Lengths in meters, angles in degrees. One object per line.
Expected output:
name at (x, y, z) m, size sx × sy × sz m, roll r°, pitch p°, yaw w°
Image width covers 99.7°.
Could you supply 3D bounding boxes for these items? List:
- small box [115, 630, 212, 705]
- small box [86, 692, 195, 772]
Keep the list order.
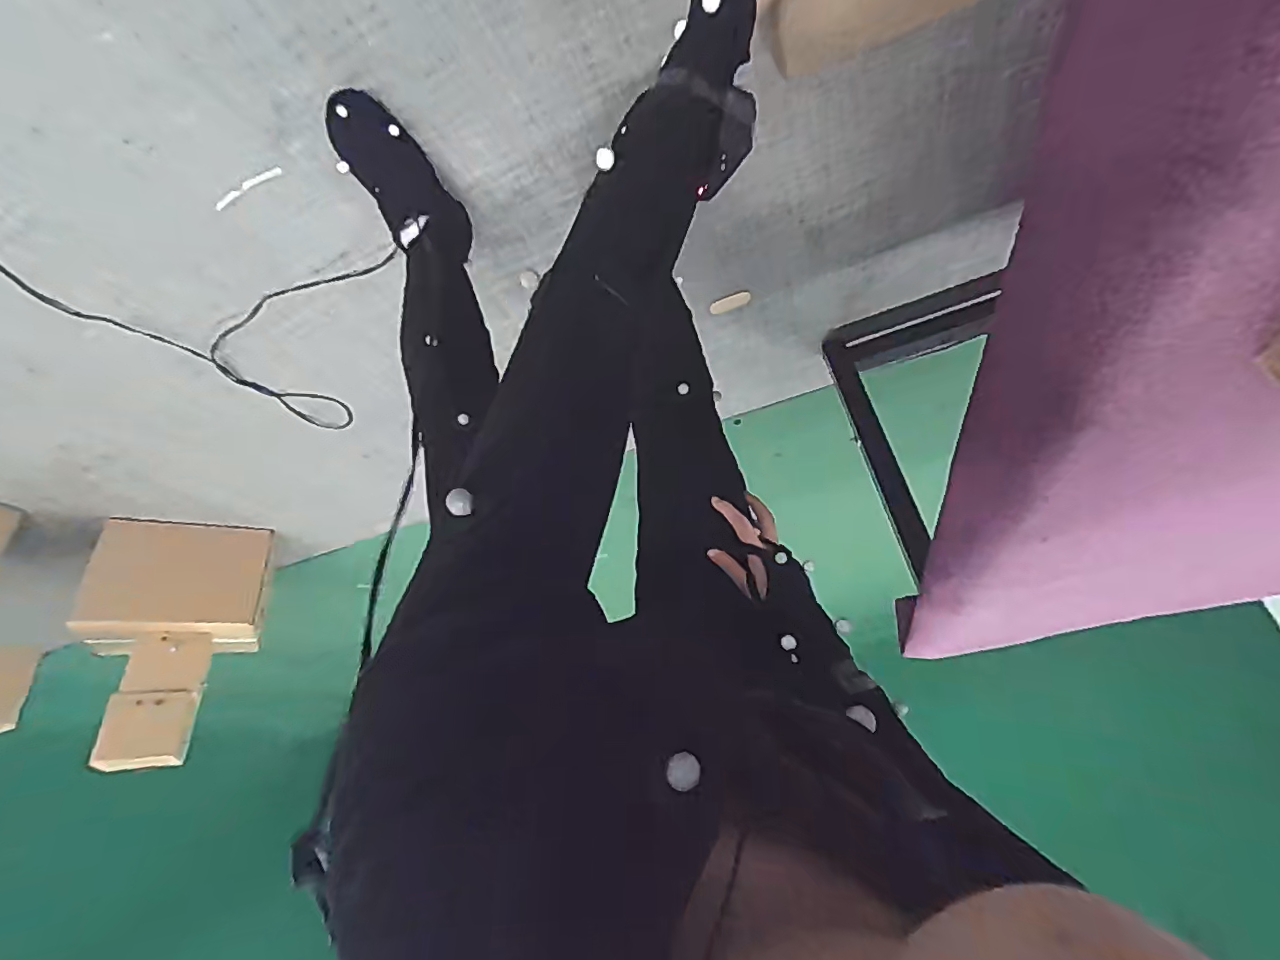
small box at (-1.344, 0.538, 1.538) m, size 0.168 × 0.176 × 0.179 m, roll 11°, pitch 144°, yaw -30°
small box at (-1.325, 0.673, 1.449) m, size 0.168 × 0.176 × 0.179 m, roll 9°, pitch 145°, yaw -28°
